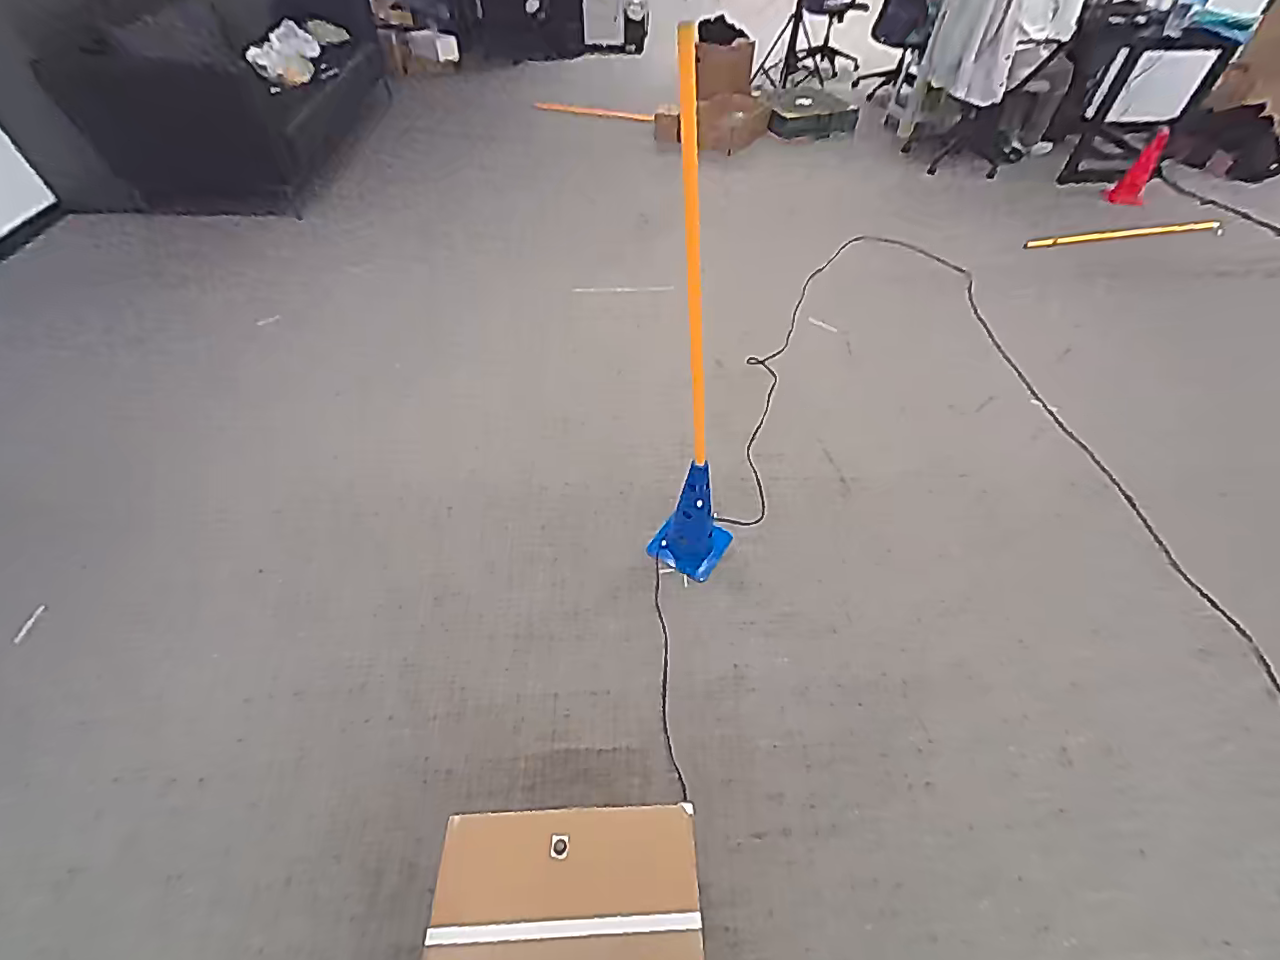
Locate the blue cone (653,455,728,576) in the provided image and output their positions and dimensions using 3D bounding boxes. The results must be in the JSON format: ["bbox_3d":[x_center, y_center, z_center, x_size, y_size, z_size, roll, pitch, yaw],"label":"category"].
[{"bbox_3d":[0.150,0.077,1.463,0.192,0.380,0.193,24,54,20],"label":"blue cone"}]
